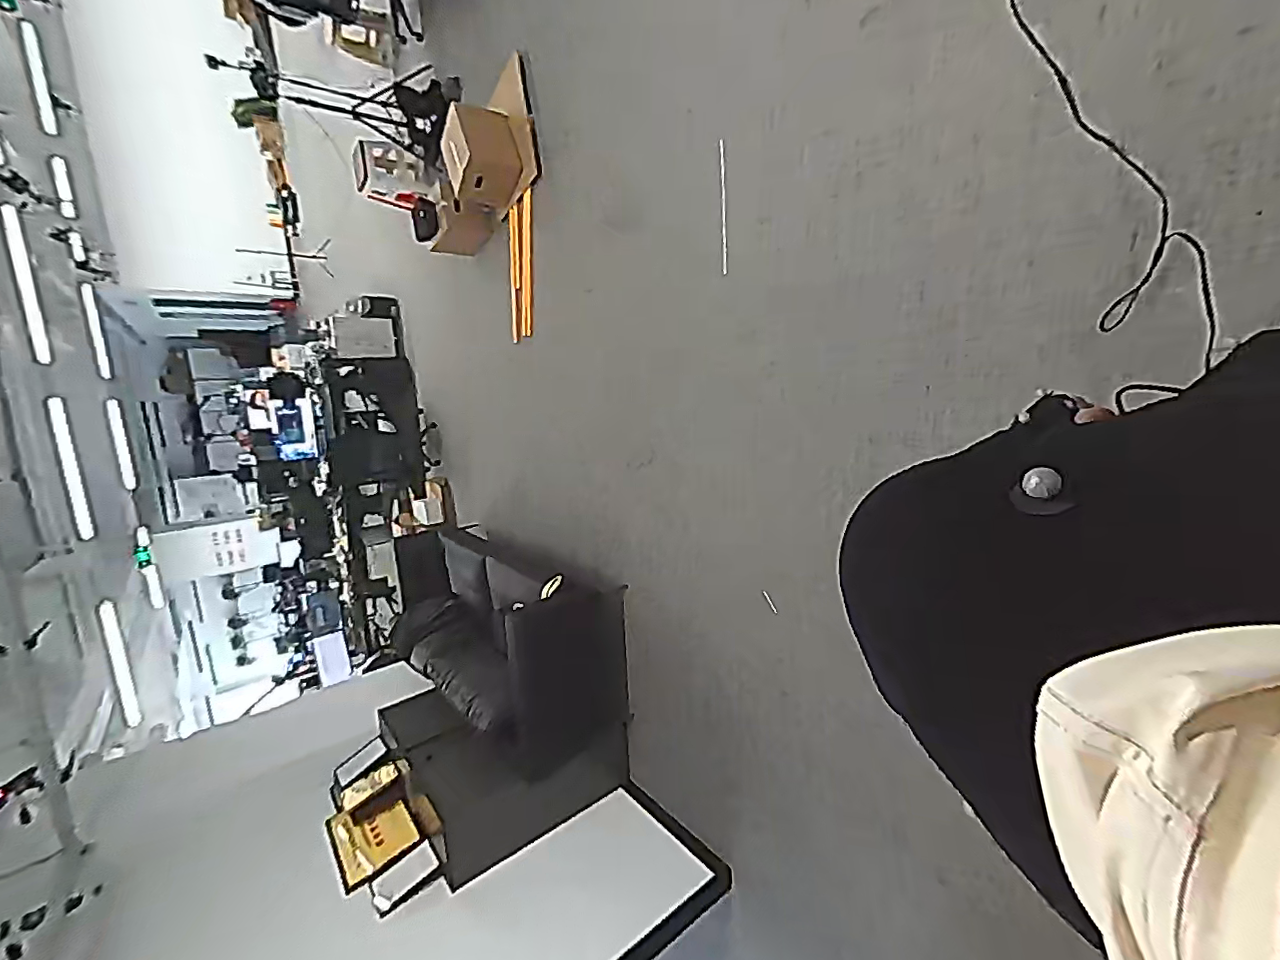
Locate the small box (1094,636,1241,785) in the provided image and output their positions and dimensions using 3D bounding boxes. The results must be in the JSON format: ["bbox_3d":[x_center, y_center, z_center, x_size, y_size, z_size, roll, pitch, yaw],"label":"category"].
[{"bbox_3d":[1.018,0.430,1.044,0.168,0.176,0.179,19,114,47],"label":"small box"}]
